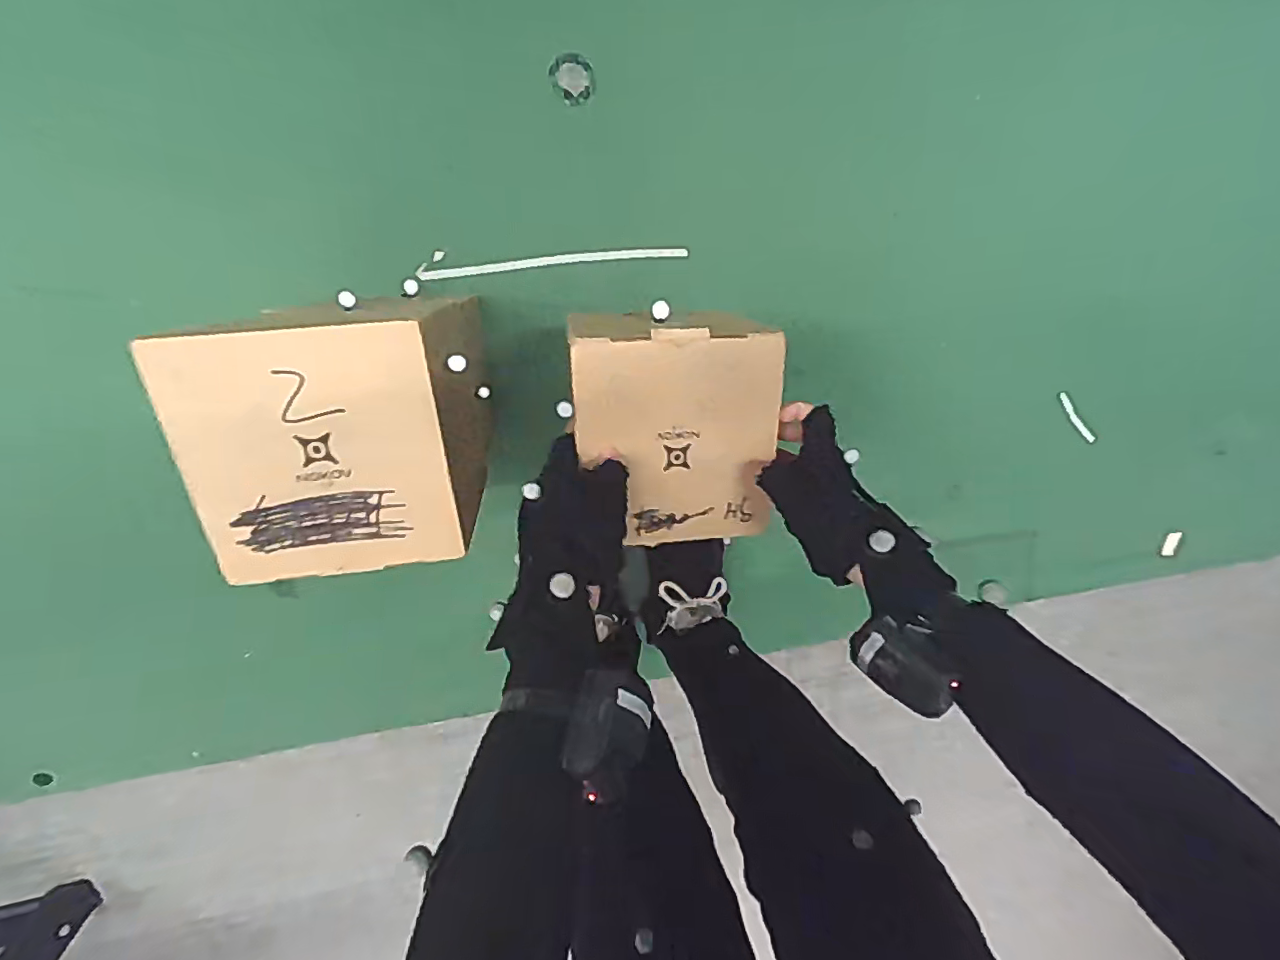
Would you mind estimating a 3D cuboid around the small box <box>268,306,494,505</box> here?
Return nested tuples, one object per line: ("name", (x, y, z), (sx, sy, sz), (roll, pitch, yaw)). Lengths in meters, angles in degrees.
("small box", (-0.259, -0.090, 0.592), (0.168, 0.176, 0.179), (-5, 113, -8))
